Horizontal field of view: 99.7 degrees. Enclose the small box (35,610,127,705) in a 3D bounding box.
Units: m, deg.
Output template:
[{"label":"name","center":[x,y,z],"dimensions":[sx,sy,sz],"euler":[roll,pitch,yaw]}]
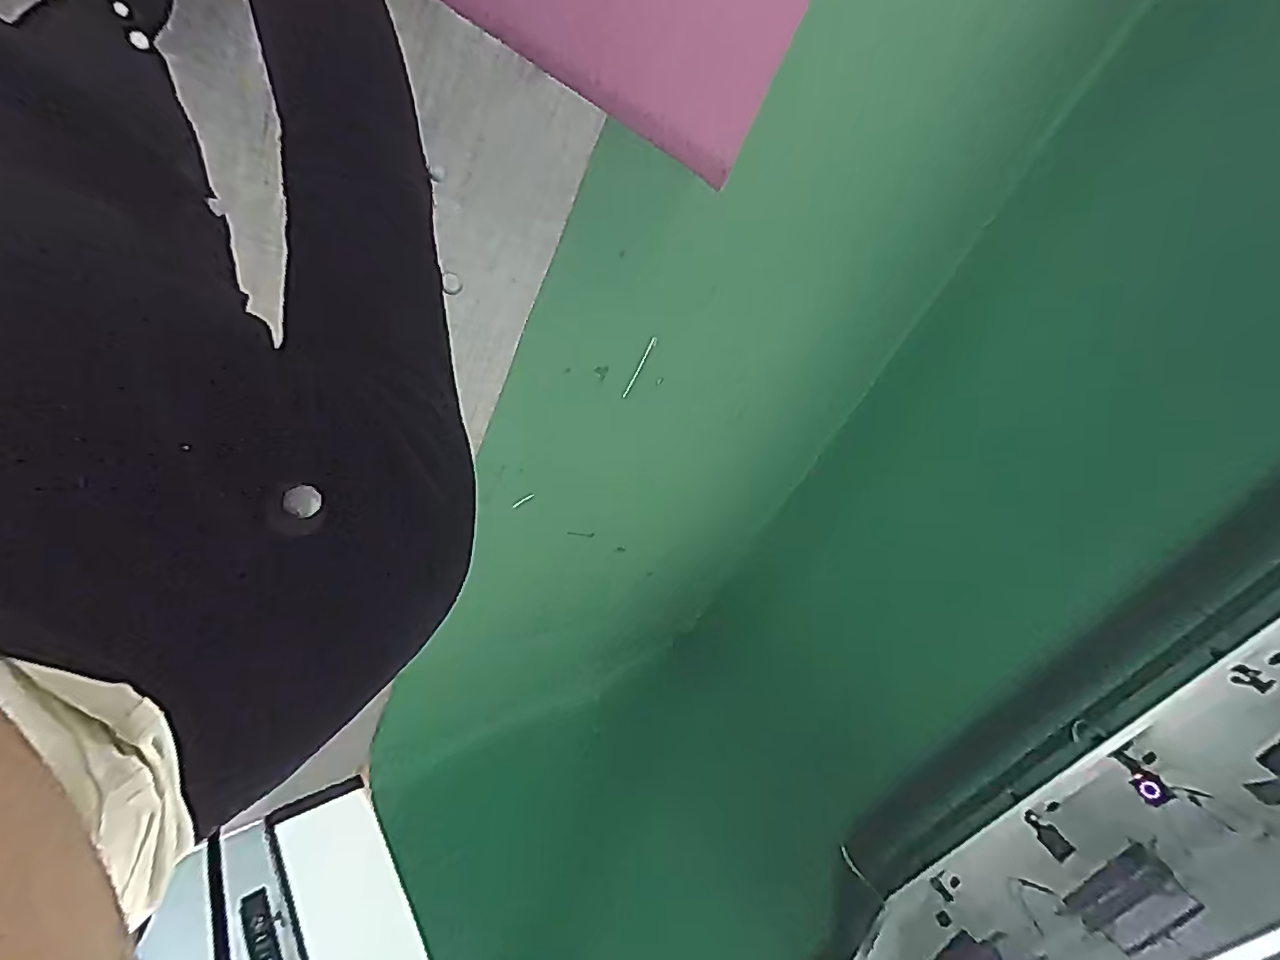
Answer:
[{"label":"small box","center":[-1.601,0.502,1.547],"dimensions":[0.168,0.176,0.179],"euler":[1,127,-52]}]
